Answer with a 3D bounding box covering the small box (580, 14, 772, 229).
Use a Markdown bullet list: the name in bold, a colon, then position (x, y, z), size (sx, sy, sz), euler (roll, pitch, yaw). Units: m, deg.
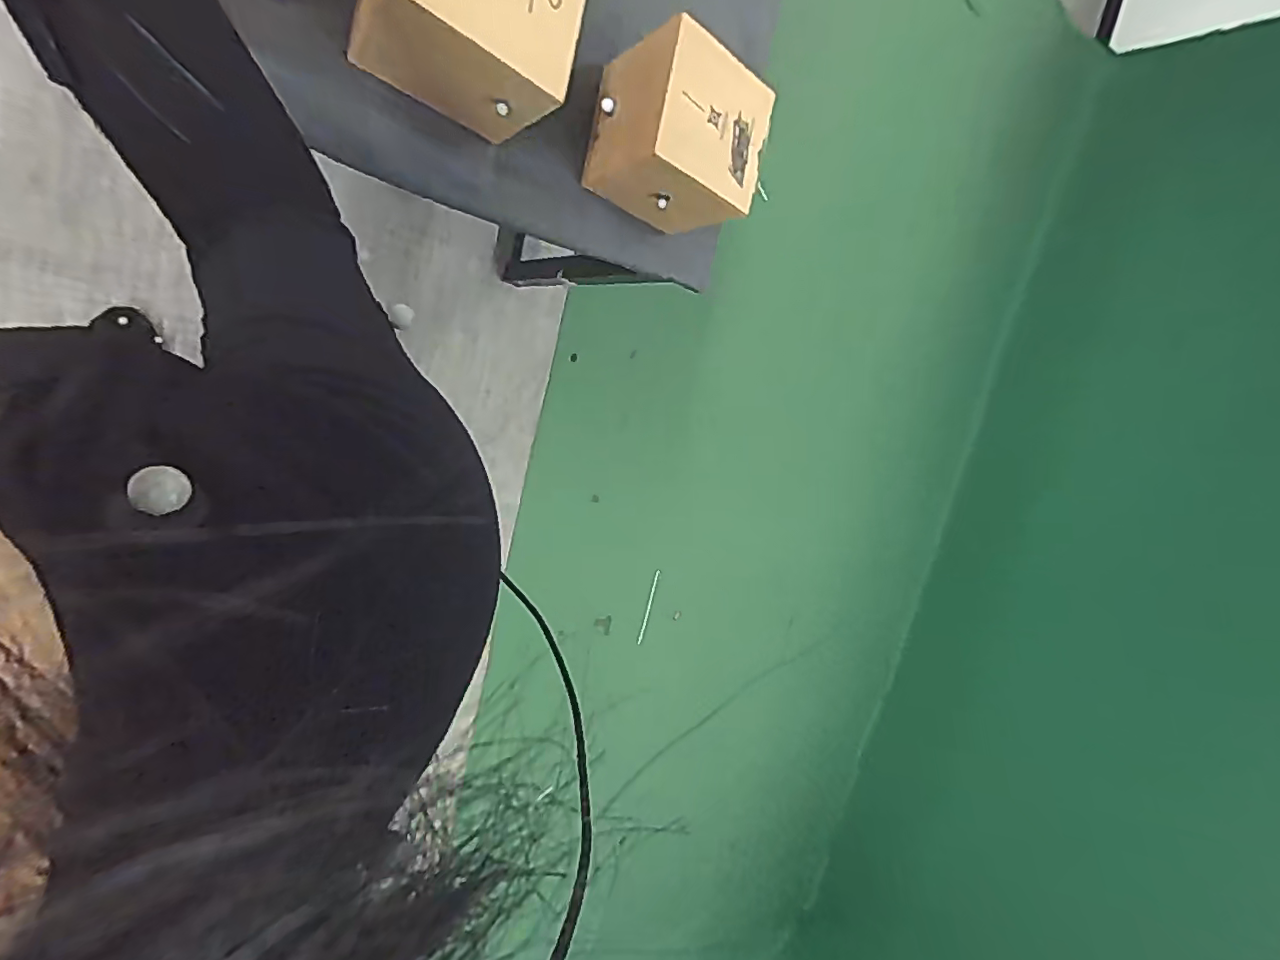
- **small box**: position (0.045, -0.464, 0.741), size (0.179, 0.176, 0.168), euler (10, 95, -39)
